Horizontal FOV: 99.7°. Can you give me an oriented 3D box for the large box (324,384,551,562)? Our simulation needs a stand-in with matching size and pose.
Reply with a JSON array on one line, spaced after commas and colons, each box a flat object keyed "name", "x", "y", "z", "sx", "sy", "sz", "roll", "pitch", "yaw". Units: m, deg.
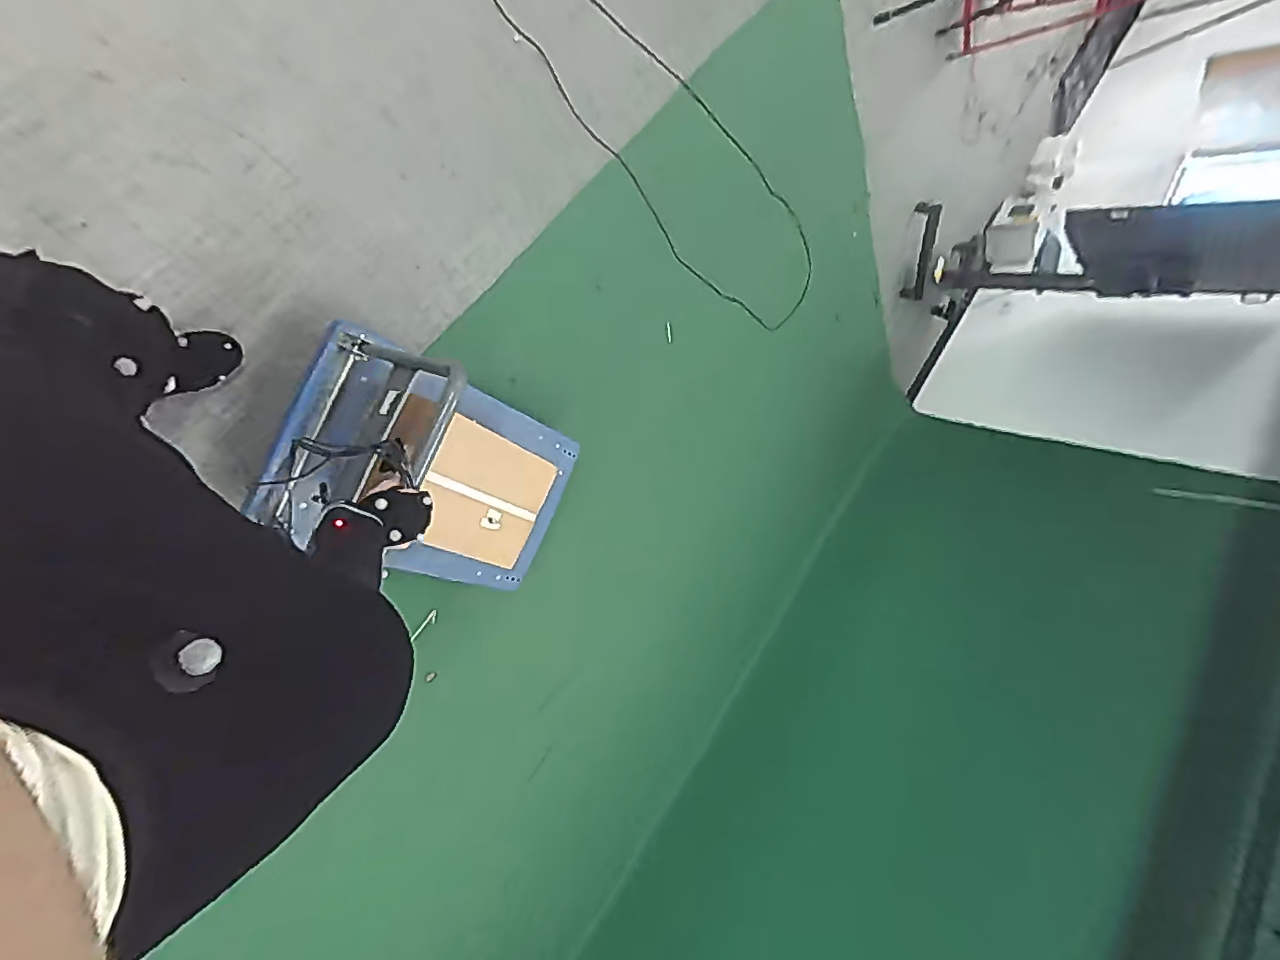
[{"name": "large box", "x": -0.525, "y": -0.015, "z": 1.429, "sx": 0.408, "sy": 0.320, "sz": 0.320, "roll": 32, "pitch": 81, "yaw": -50}]
